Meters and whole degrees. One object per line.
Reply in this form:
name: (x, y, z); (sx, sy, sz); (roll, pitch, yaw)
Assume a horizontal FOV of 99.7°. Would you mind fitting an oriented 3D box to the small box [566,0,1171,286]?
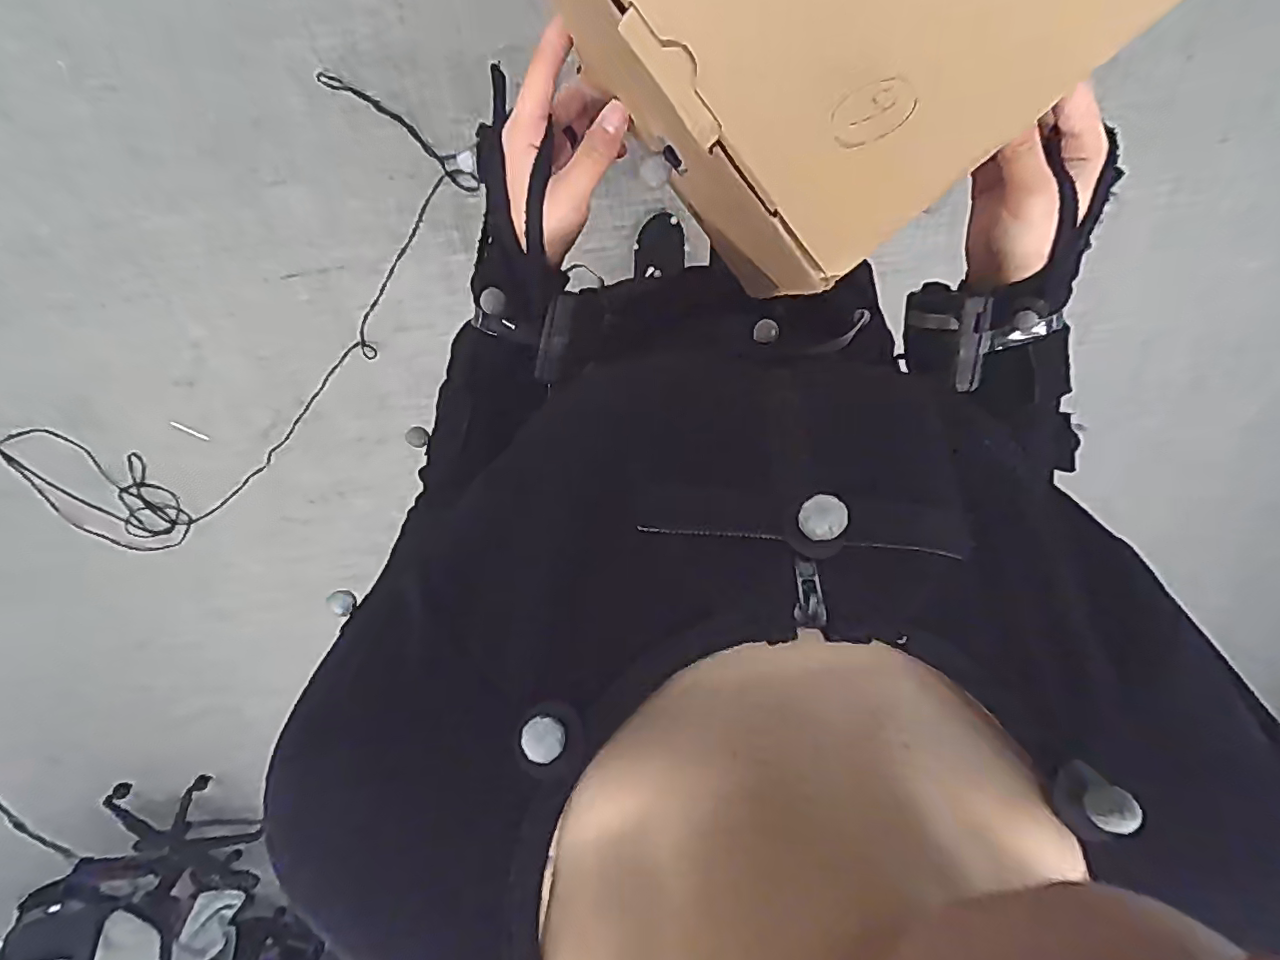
small box: (0.080, -0.200, 0.224); (0.179, 0.176, 0.168); (-38, 101, 15)
